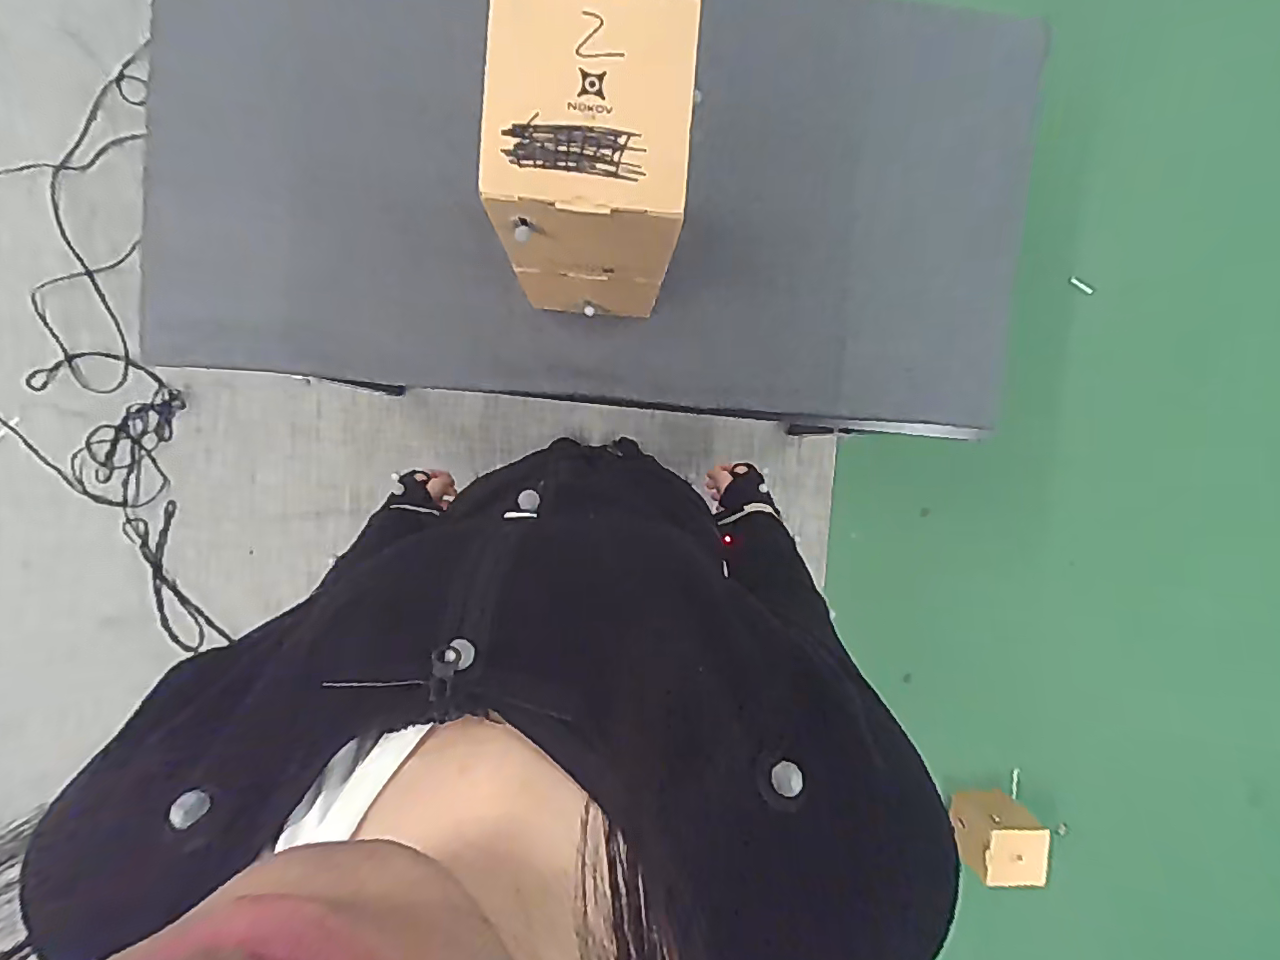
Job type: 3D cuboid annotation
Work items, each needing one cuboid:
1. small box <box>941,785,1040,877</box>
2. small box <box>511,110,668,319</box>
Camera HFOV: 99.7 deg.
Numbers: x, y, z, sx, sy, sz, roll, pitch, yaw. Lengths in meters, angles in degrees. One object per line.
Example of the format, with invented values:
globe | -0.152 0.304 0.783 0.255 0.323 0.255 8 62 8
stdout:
small box | 1.030 1.030 1.598 0.179 0.176 0.168 2 94 -4
small box | -0.062 -0.315 0.676 0.168 0.176 0.179 3 93 -4
